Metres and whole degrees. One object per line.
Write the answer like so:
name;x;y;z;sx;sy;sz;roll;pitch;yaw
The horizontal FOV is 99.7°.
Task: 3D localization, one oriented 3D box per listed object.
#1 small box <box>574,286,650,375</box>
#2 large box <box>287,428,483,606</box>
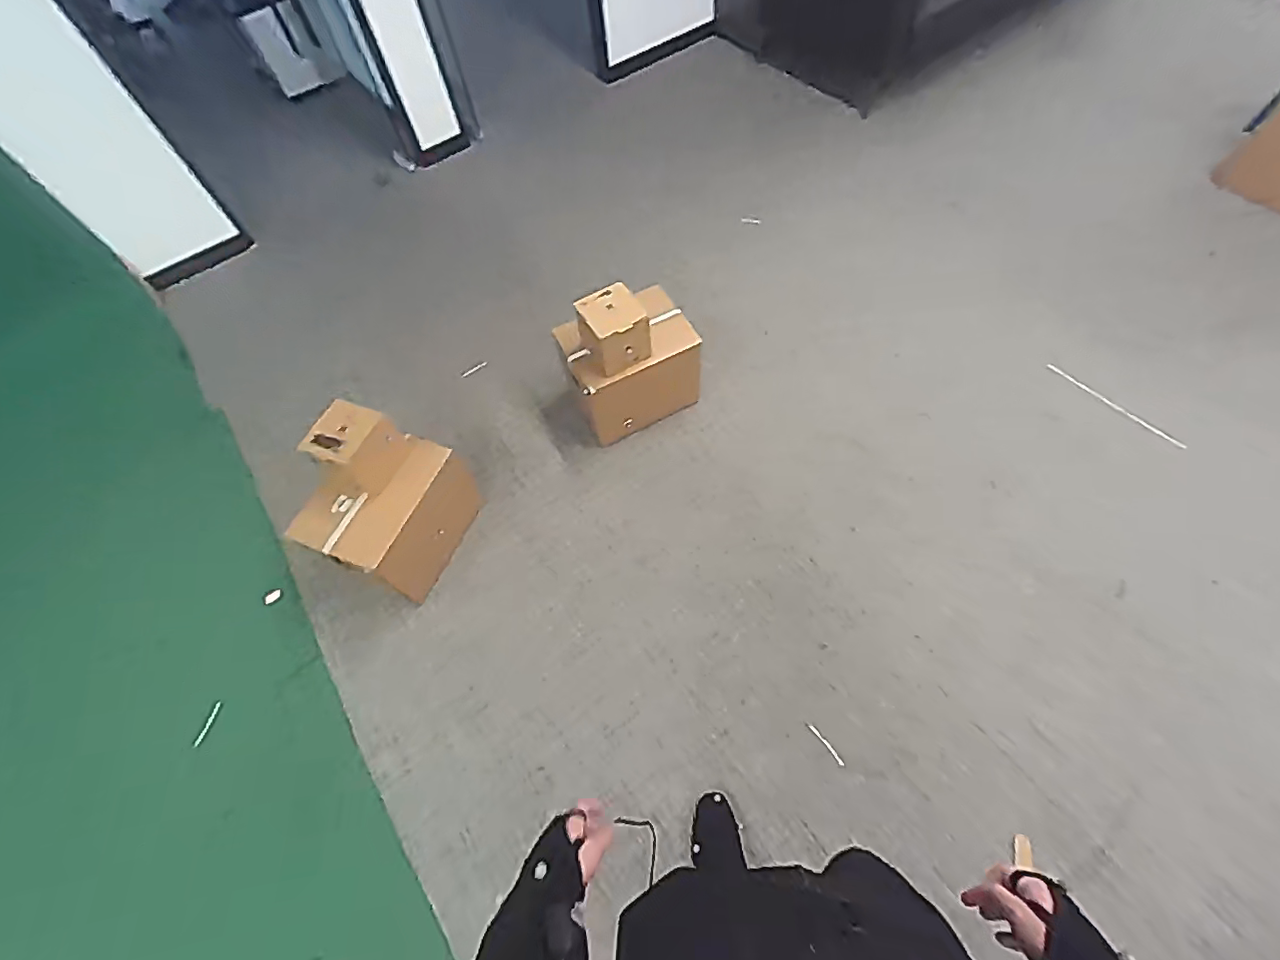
small box;-0.079;-0.444;1.640;0.168;0.176;0.179;-28;63;-12
large box;-0.746;0.115;1.655;0.320;0.320;0.408;17;64;14
